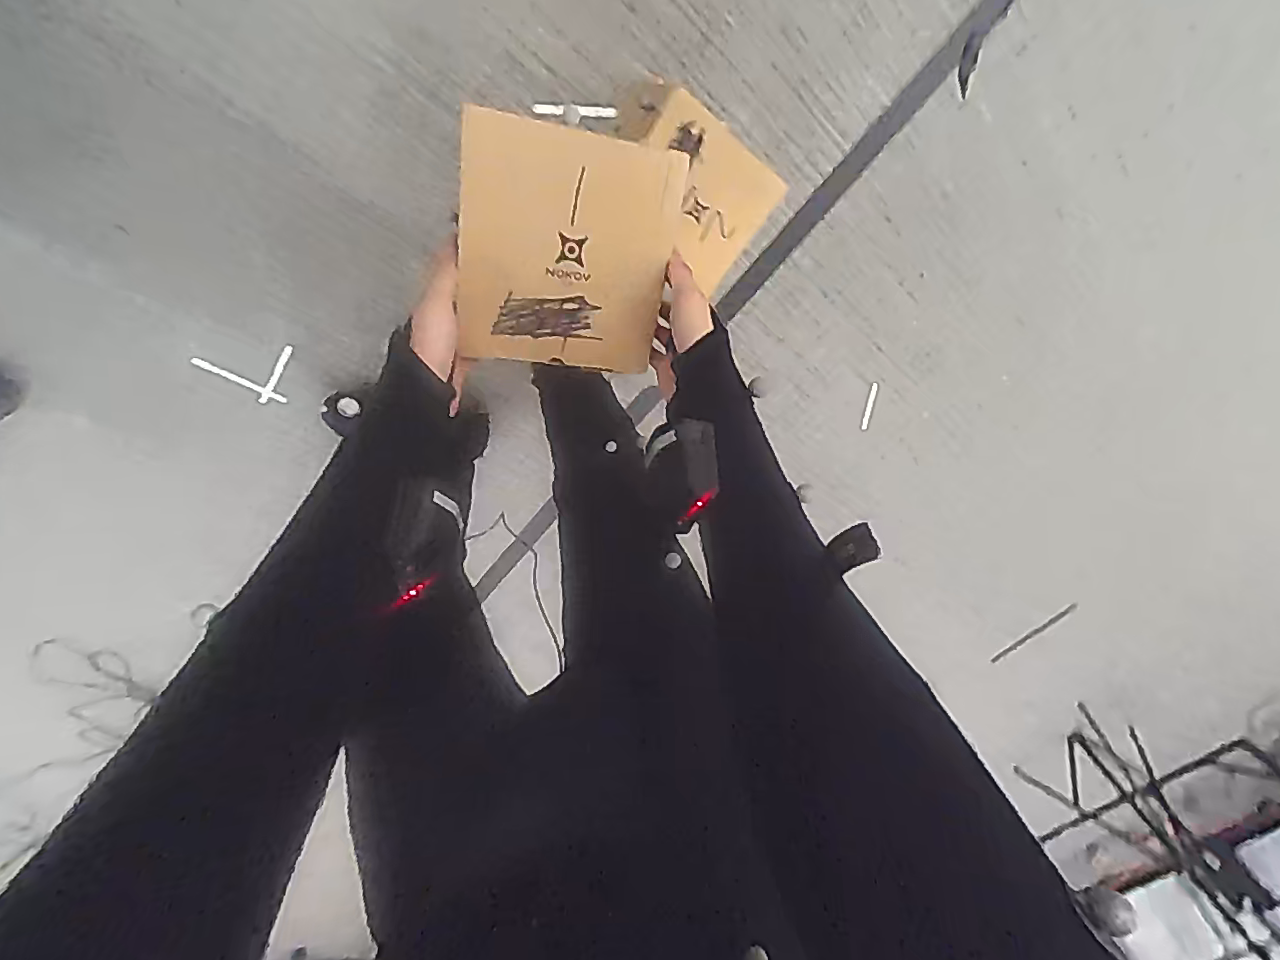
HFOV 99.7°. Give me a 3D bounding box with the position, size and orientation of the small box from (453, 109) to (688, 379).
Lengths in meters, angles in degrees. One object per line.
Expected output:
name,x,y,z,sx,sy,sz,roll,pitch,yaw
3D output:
small box,-0.076,-0.209,0.483,0.168,0.176,0.179,1,122,-18

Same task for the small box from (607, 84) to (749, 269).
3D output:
small box,0.030,-0.465,0.827,0.168,0.176,0.179,29,116,-28
